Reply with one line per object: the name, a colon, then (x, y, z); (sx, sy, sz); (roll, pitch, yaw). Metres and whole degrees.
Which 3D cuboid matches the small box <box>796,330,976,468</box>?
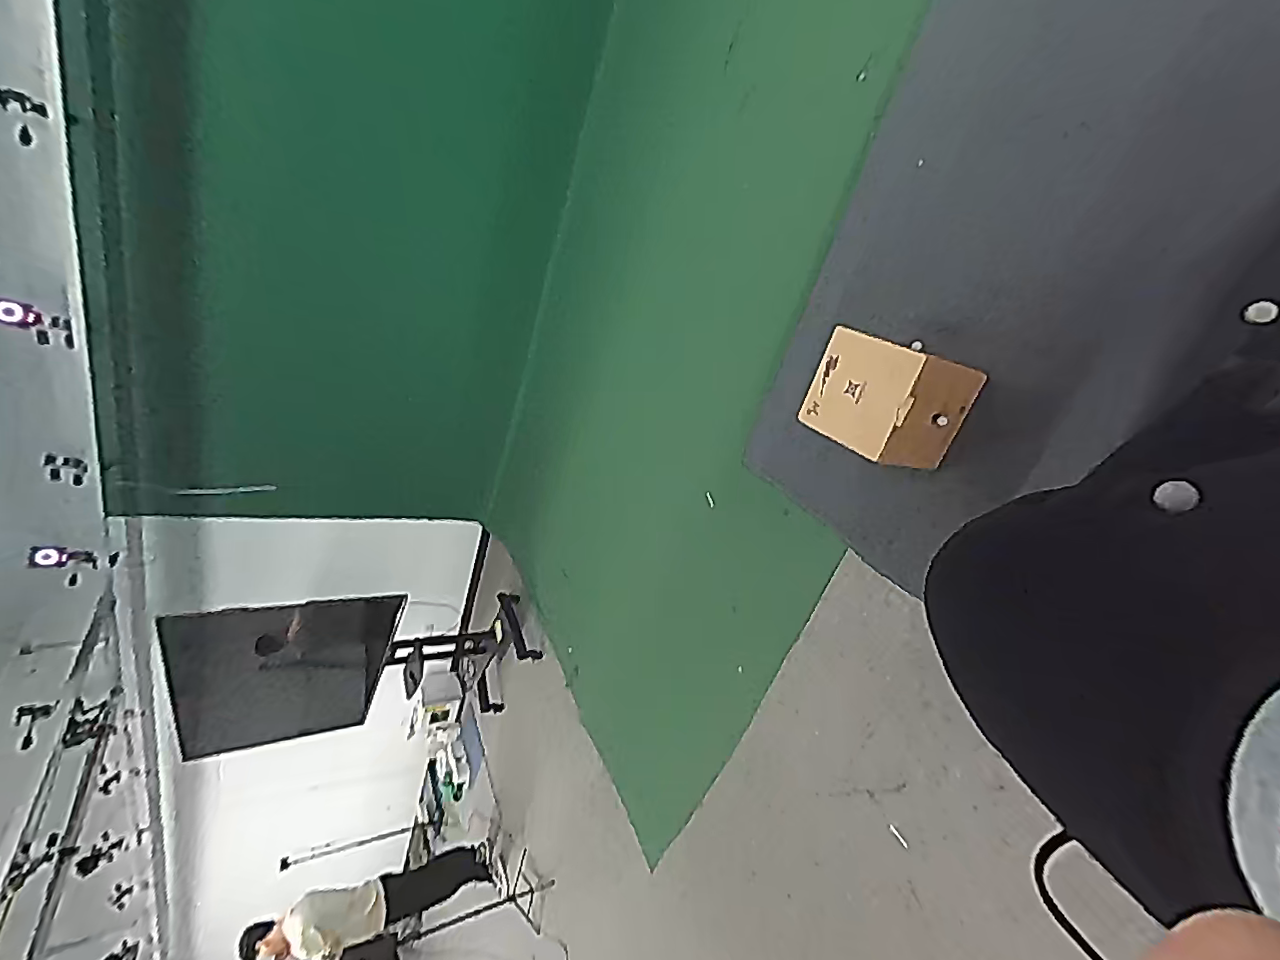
small box: (0.399, -0.128, 0.879); (0.179, 0.176, 0.168); (43, 122, 48)
